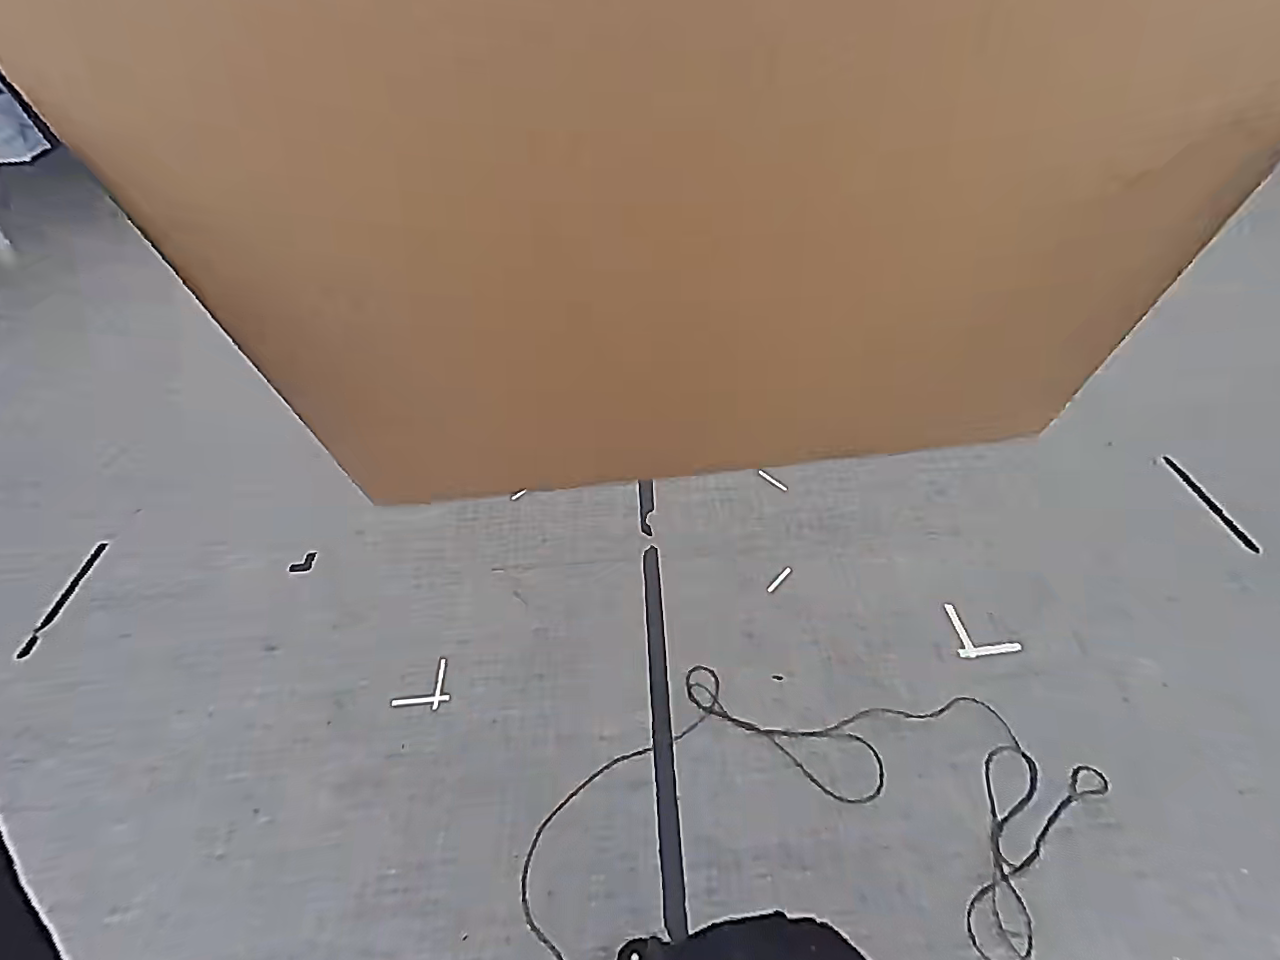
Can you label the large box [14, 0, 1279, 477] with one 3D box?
[{"bbox_3d":[0.016,-0.228,0.284,0.408,0.320,0.320,-6,55,-2],"label":"large box"}]
